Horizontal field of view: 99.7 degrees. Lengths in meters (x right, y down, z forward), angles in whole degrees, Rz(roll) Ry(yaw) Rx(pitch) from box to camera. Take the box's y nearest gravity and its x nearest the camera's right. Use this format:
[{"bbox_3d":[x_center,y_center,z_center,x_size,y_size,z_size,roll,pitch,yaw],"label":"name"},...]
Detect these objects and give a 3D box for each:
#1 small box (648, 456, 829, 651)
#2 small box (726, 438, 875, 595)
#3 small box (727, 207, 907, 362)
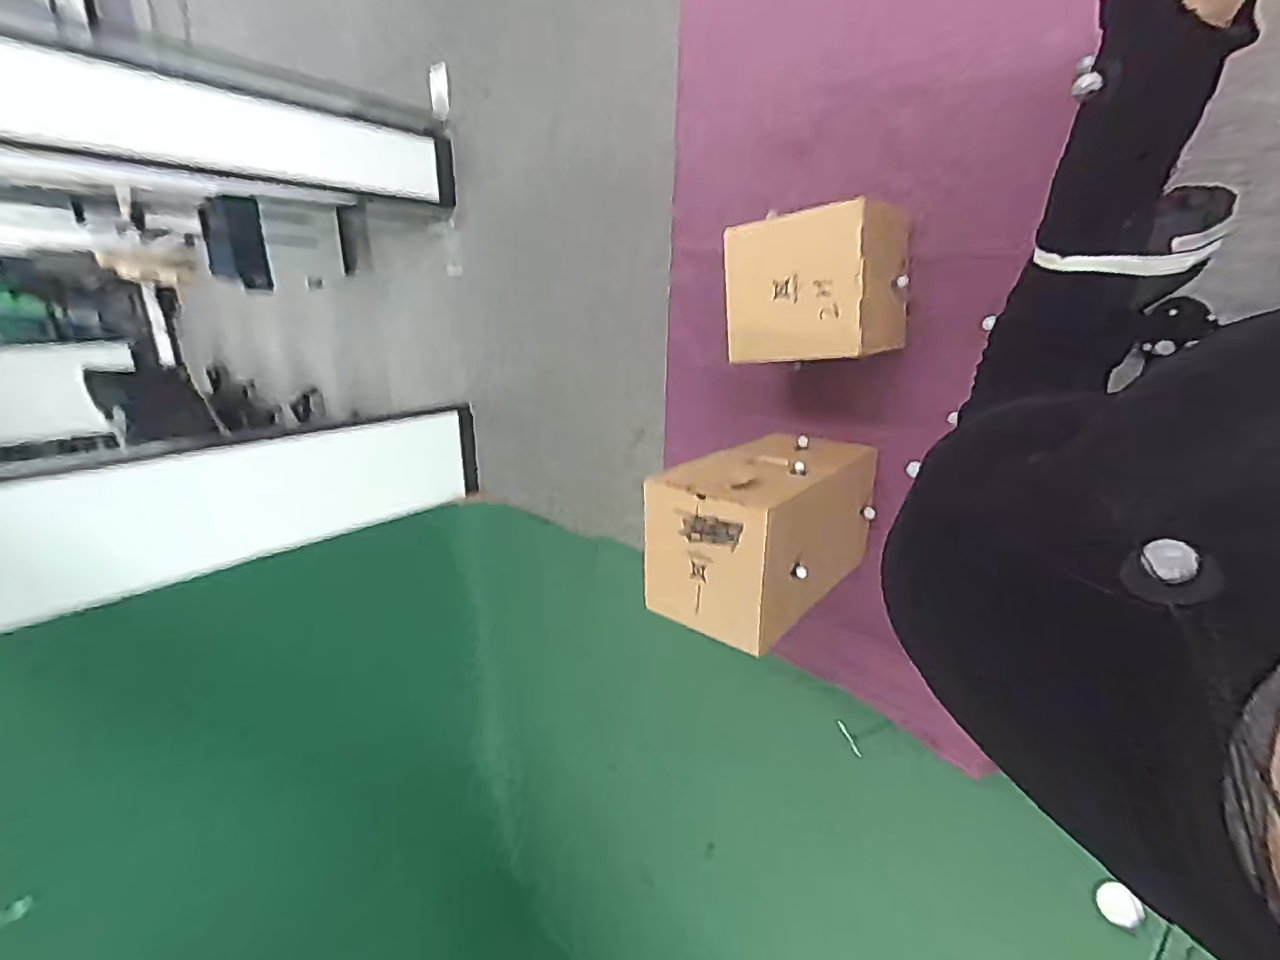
[{"bbox_3d":[0.127,0.076,0.689,0.168,0.176,0.179,14,114,39],"label":"small box"},{"bbox_3d":[0.235,0.040,0.807,0.168,0.176,0.179,15,112,39],"label":"small box"},{"bbox_3d":[0.234,-0.246,0.719,0.179,0.176,0.168,8,109,40],"label":"small box"}]
